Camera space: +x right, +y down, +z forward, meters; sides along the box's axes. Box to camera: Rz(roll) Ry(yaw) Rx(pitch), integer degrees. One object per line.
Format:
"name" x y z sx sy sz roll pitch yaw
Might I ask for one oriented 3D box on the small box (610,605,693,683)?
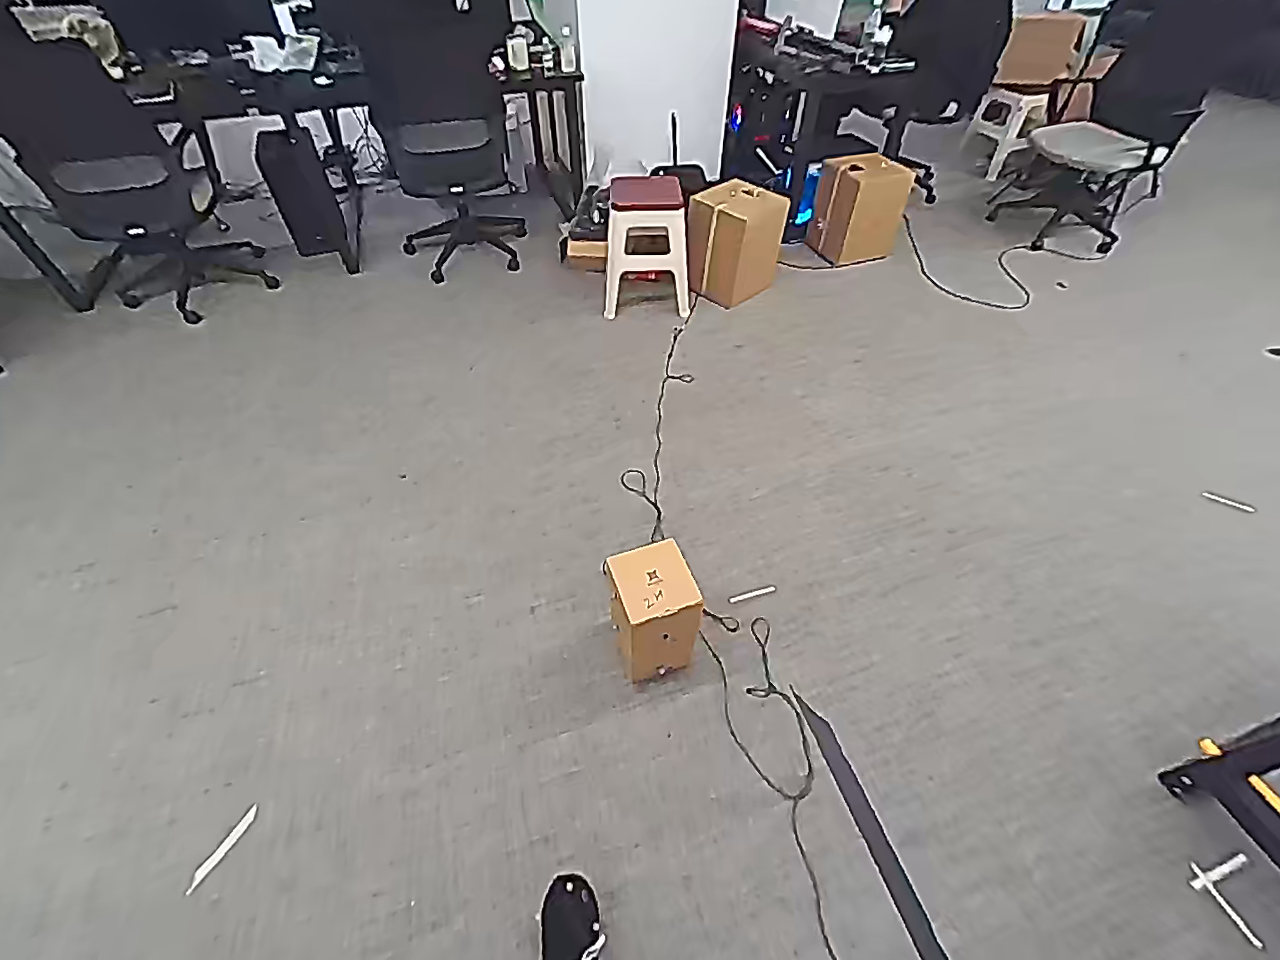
"small box" 0.022 0.381 1.362 0.168 0.176 0.179 -14 51 -12

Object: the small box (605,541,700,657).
"small box" 0.024 0.273 1.237 0.168 0.176 0.179 -16 51 -13
